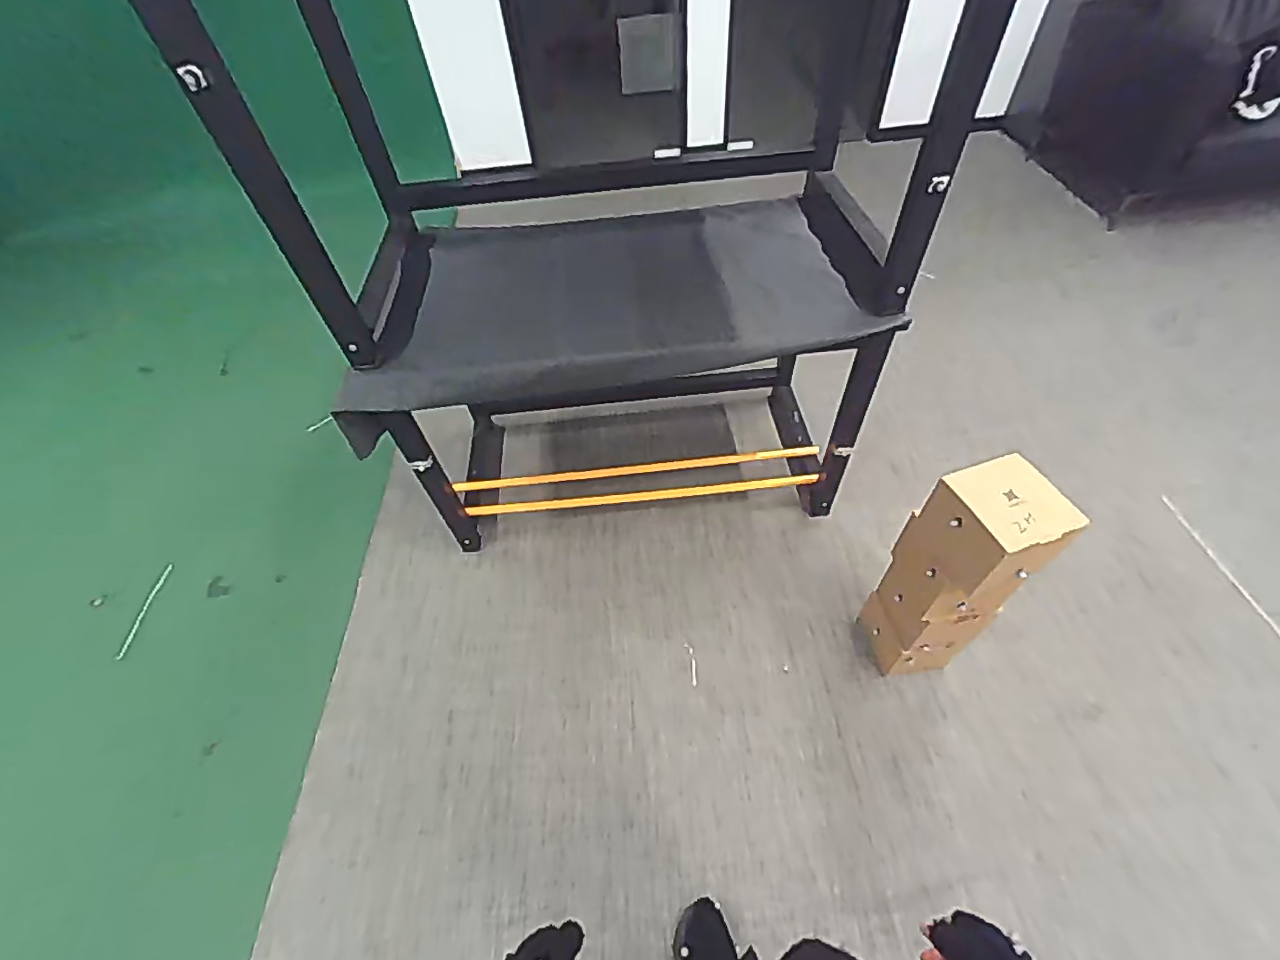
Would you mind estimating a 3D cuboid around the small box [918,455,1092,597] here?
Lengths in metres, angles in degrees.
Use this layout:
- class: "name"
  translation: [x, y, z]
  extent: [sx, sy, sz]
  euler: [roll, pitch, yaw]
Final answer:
- class: "small box"
  translation: [0.656, 0.087, 1.002]
  extent: [0.168, 0.176, 0.179]
  euler: [-17, 53, -7]

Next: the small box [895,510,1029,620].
- class: "small box"
  translation: [0.667, 0.175, 1.141]
  extent: [0.168, 0.176, 0.179]
  euler: [-6, 51, 1]

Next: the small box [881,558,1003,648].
- class: "small box"
  translation: [0.692, 0.280, 1.263]
  extent: [0.168, 0.176, 0.179]
  euler: [-8, 50, -1]
